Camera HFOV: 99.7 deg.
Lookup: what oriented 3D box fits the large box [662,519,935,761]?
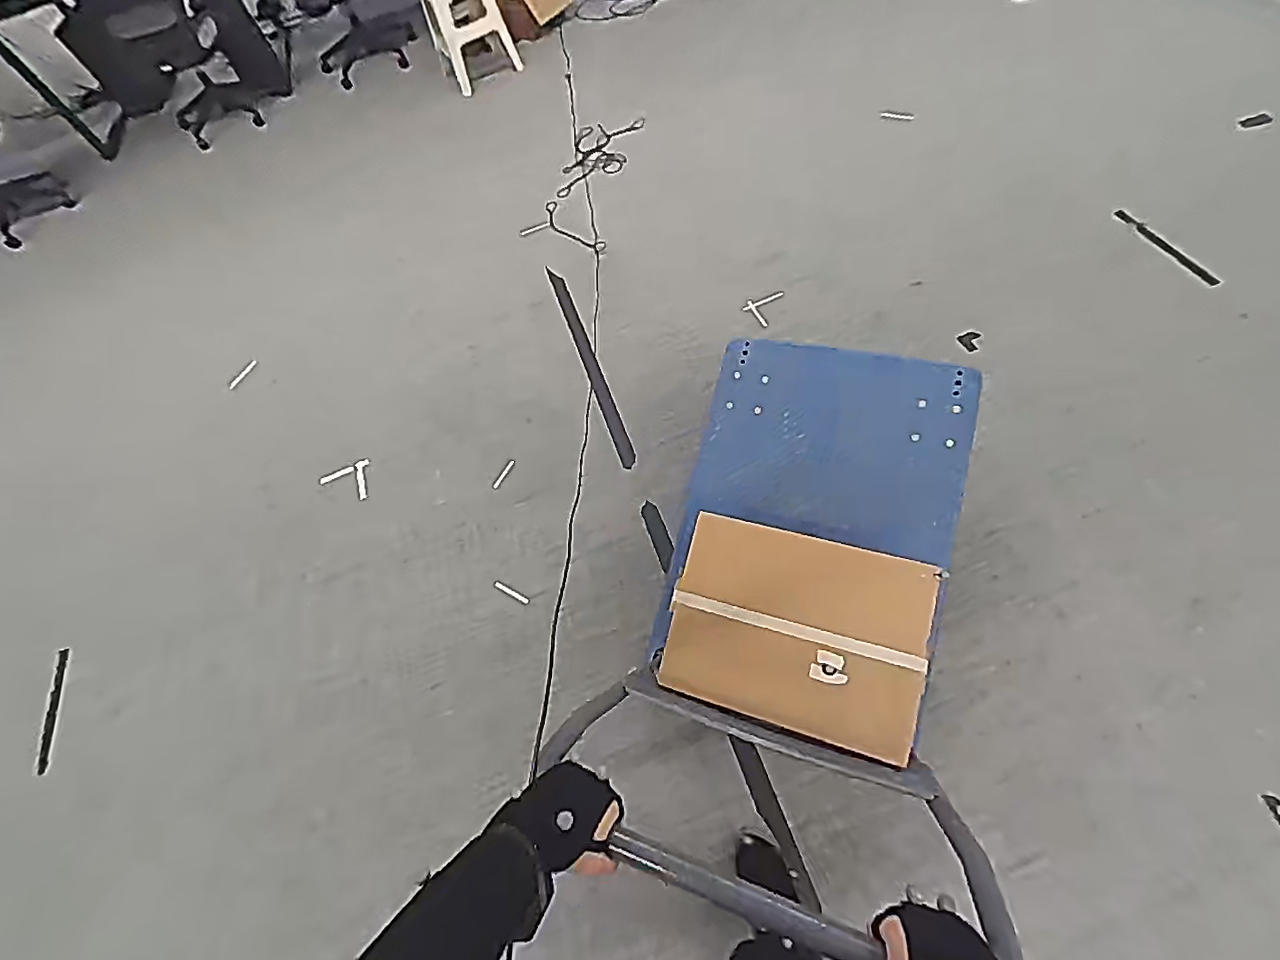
[{"bbox_3d":[0.293,0.287,1.053,0.408,0.320,0.320,12,81,17],"label":"large box"}]
